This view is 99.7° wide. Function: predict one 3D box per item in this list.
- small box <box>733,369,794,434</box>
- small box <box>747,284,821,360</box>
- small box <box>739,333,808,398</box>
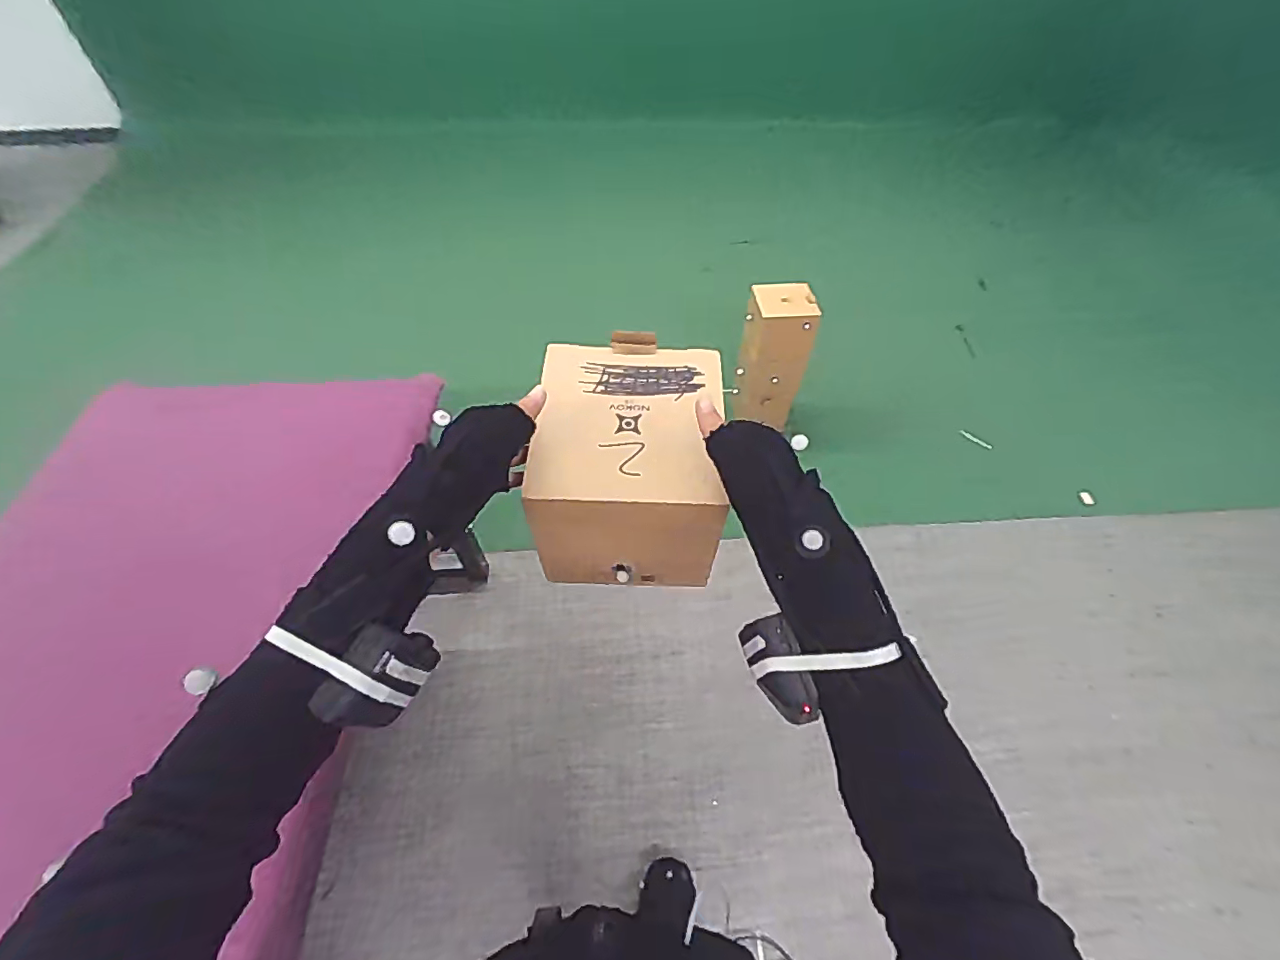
[{"bbox_3d":[0.432,-0.284,1.930,0.168,0.176,0.179,-3,53,-2],"label":"small box"},{"bbox_3d":[0.436,-0.486,1.673,0.179,0.176,0.168,-3,52,-4],"label":"small box"},{"bbox_3d":[0.439,-0.388,1.800,0.179,0.176,0.168,-1,51,-2],"label":"small box"}]
